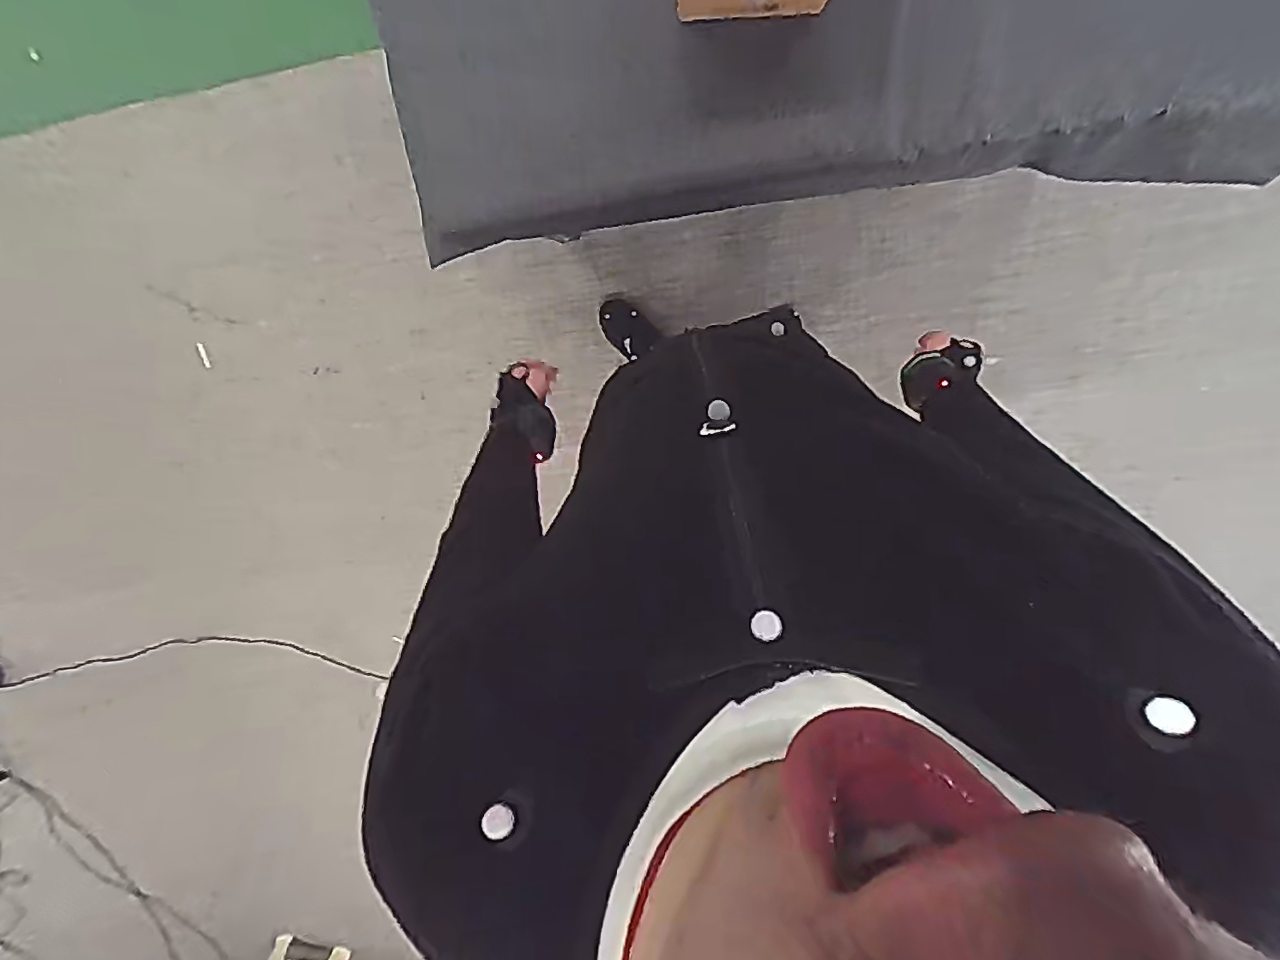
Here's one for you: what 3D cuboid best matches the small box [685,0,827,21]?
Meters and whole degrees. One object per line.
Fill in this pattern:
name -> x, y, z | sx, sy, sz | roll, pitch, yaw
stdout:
small box -> 0.122, -0.588, 0.527 | 0.168, 0.176, 0.179 | -2, 110, 6
